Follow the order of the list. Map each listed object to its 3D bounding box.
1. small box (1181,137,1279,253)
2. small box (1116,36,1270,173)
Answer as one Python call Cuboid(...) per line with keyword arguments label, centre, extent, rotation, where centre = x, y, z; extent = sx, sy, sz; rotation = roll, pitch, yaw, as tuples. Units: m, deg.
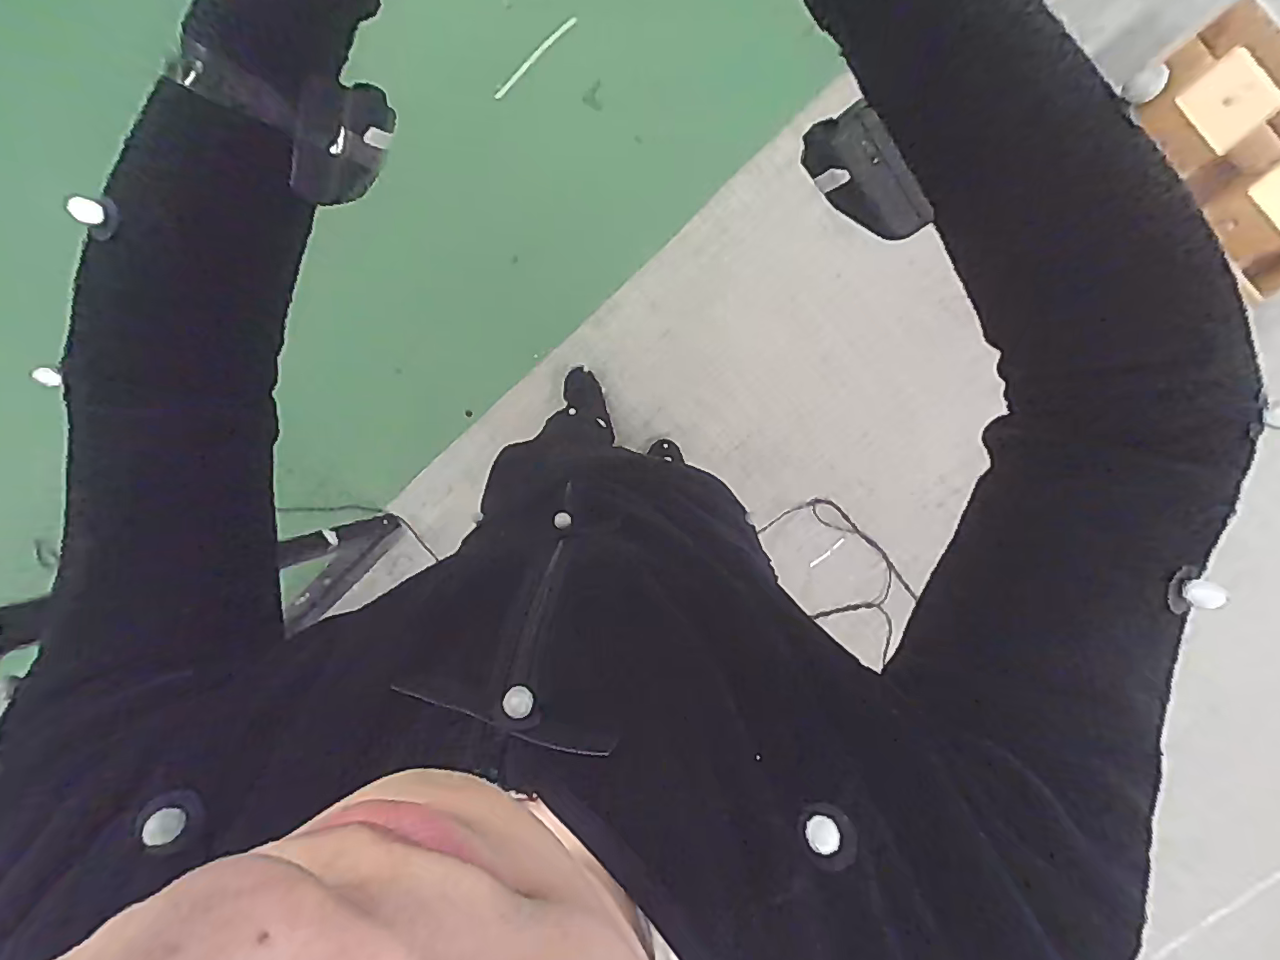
Cuboid(label="small box", centre=(1.495, -0.693, 1.319), extent=(0.179, 0.176, 0.168), rotation=(-41, 90, 7))
Cuboid(label="small box", centre=(1.321, -0.896, 1.313), extent=(0.179, 0.176, 0.168), rotation=(-40, 92, 7))
